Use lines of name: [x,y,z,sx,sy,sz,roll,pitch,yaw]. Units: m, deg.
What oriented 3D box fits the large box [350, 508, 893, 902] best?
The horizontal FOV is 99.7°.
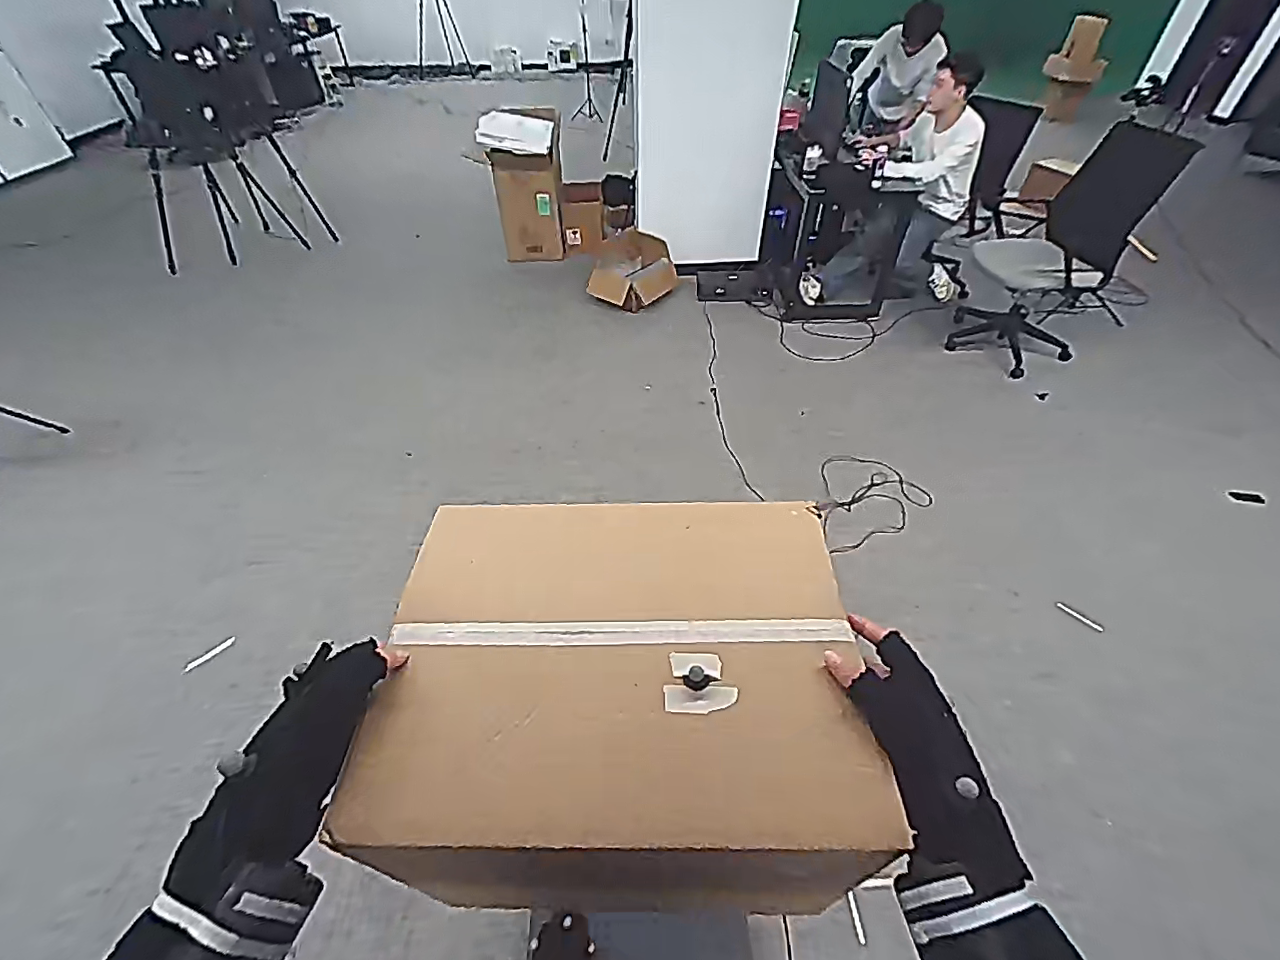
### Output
large box: [-0.012,0.246,0.597,0.408,0.320,0.320,0,45,2]
